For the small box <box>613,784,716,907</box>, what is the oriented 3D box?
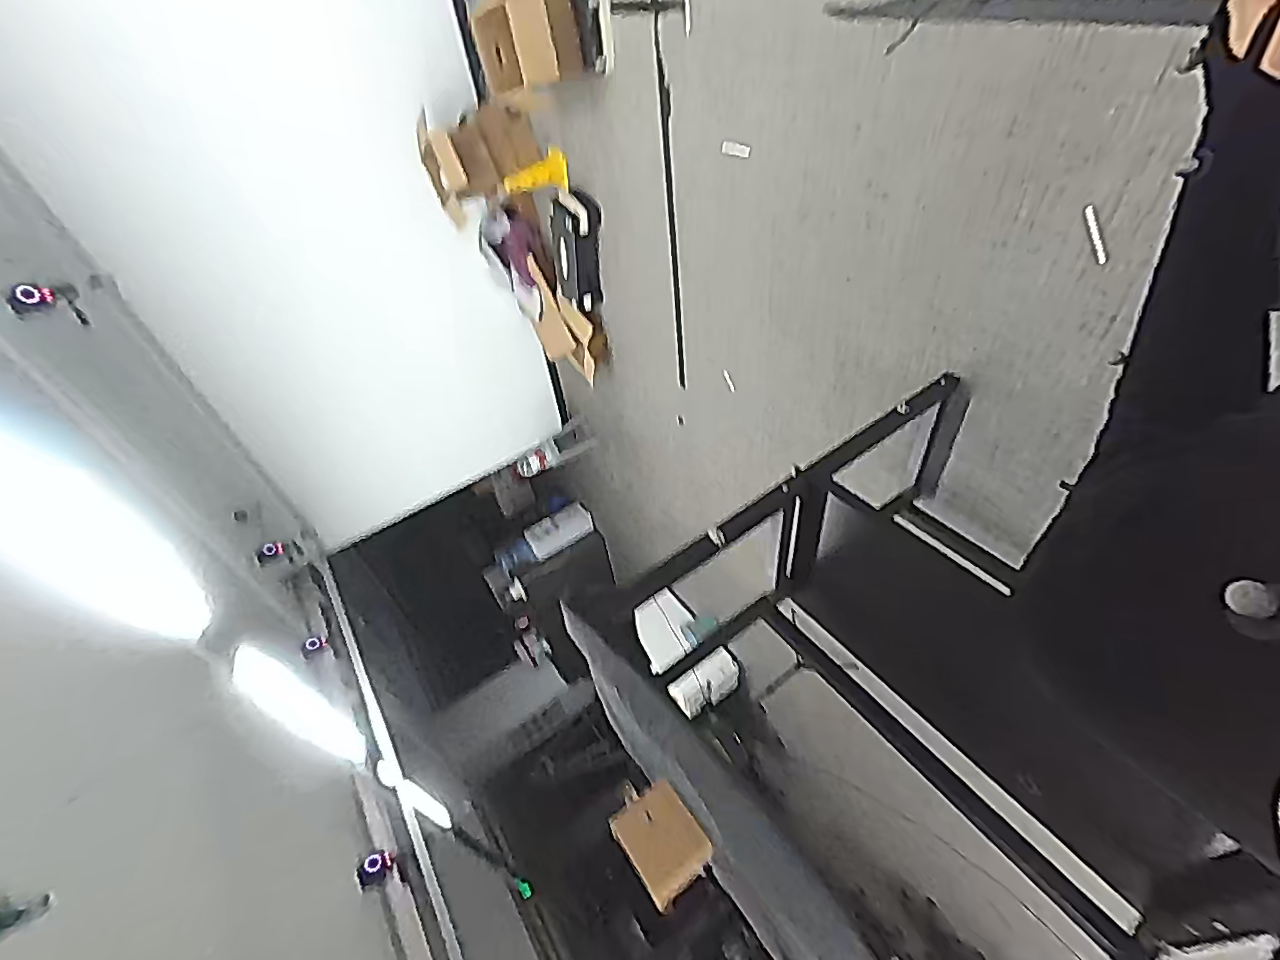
[{"bbox_3d":[0.059,0.857,1.282,0.179,0.176,0.168,44,155,37],"label":"small box"}]
